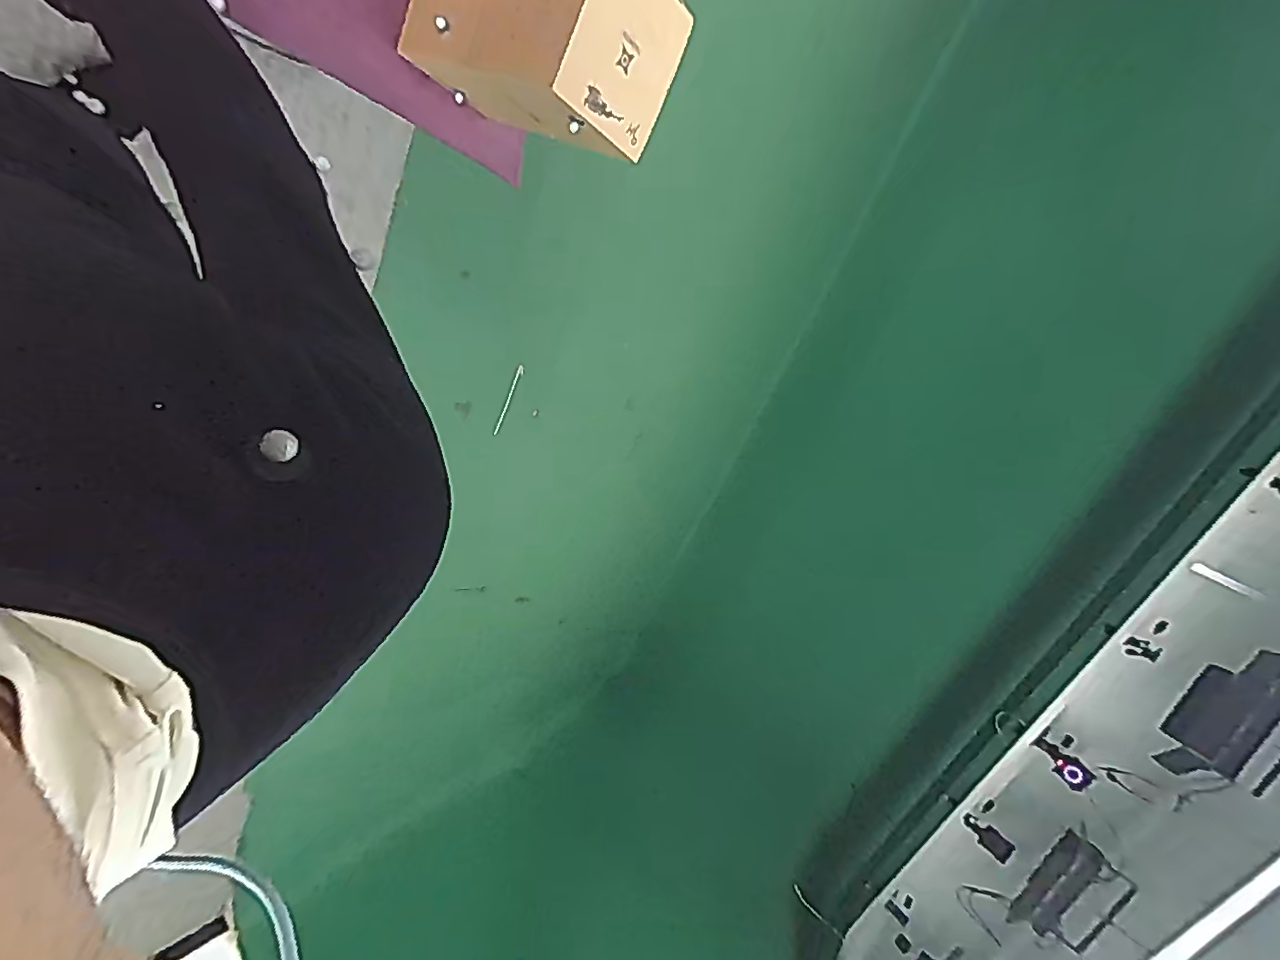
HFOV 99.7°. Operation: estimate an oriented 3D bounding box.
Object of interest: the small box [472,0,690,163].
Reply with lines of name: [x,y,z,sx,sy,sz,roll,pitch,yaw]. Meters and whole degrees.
small box: [-0.075,-0.530,0.659,0.168,0.176,0.179,1,119,-56]
